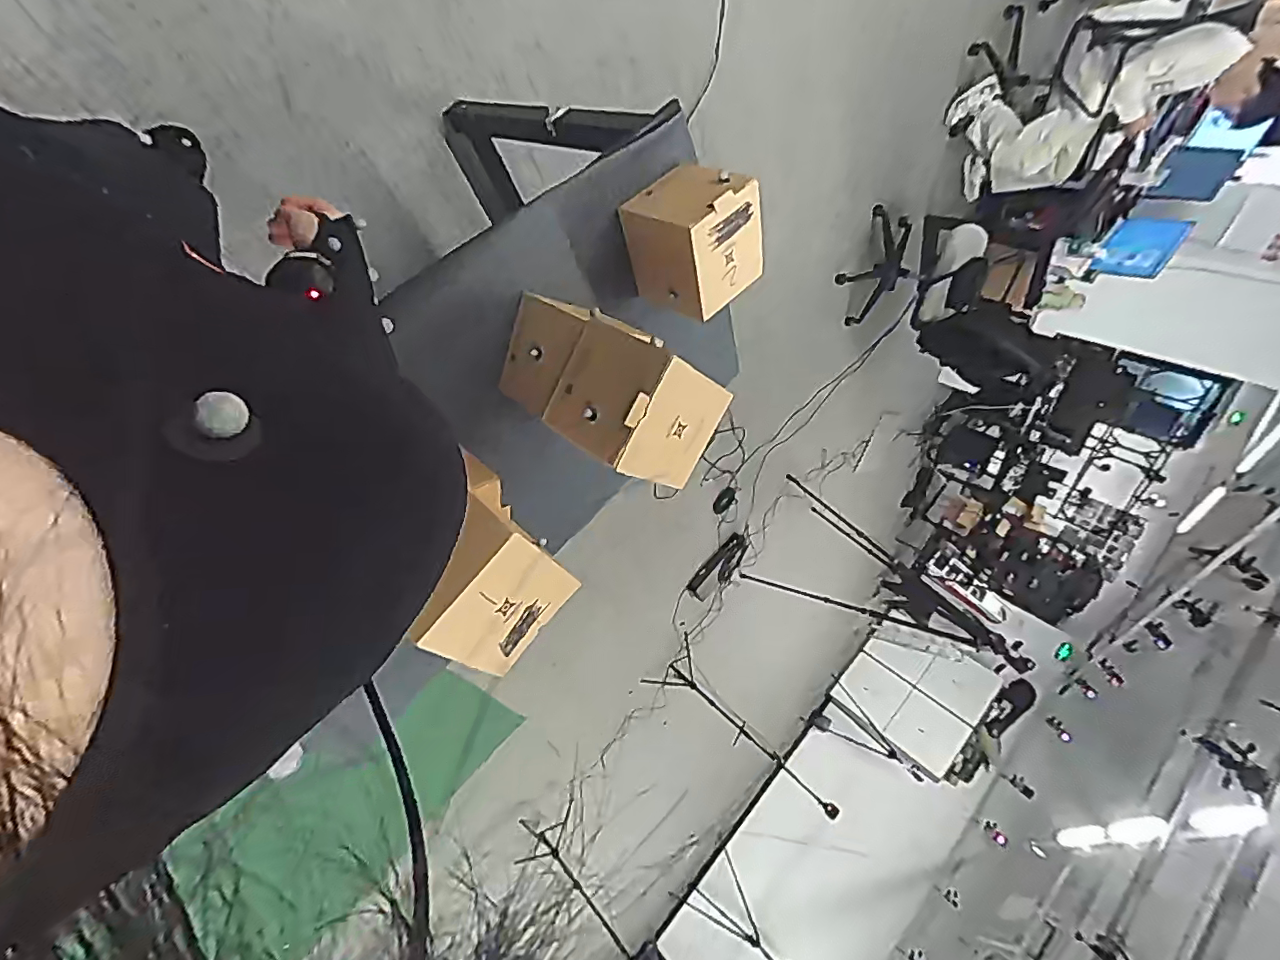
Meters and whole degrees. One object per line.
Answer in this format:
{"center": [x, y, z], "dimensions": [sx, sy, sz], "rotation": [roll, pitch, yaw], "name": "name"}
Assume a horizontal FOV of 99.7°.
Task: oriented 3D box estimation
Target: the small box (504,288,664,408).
{"center": [-0.097, -0.205, 0.894], "dimensions": [0.179, 0.176, 0.168], "rotation": [-3, 120, -49], "name": "small box"}

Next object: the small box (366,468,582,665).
{"center": [-0.214, 0.111, 0.715], "dimensions": [0.168, 0.176, 0.179], "rotation": [-50, 145, -11], "name": "small box"}

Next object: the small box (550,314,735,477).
{"center": [0.001, -0.124, 0.791], "dimensions": [0.179, 0.176, 0.168], "rotation": [14, 107, -54], "name": "small box"}
